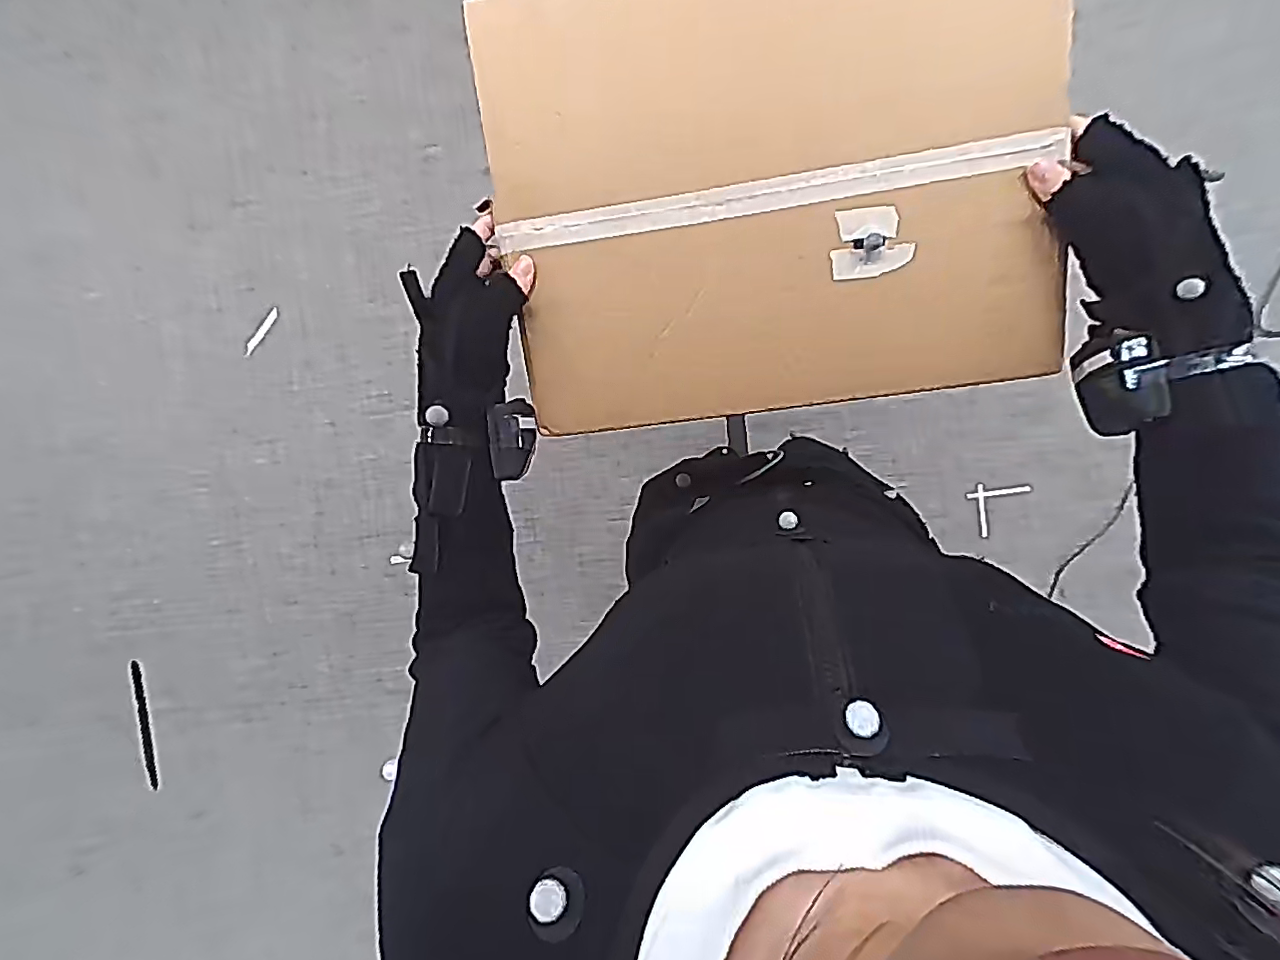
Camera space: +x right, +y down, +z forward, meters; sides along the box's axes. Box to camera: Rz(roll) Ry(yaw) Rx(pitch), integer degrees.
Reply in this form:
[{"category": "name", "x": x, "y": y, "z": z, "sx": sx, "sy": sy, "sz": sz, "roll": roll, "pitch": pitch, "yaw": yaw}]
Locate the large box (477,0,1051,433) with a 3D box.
[{"category": "large box", "x": 0.105, "y": -0.246, "z": 0.552, "sx": 0.408, "sy": 0.320, "sz": 0.320, "roll": -8, "pitch": 103, "yaw": 5}]
